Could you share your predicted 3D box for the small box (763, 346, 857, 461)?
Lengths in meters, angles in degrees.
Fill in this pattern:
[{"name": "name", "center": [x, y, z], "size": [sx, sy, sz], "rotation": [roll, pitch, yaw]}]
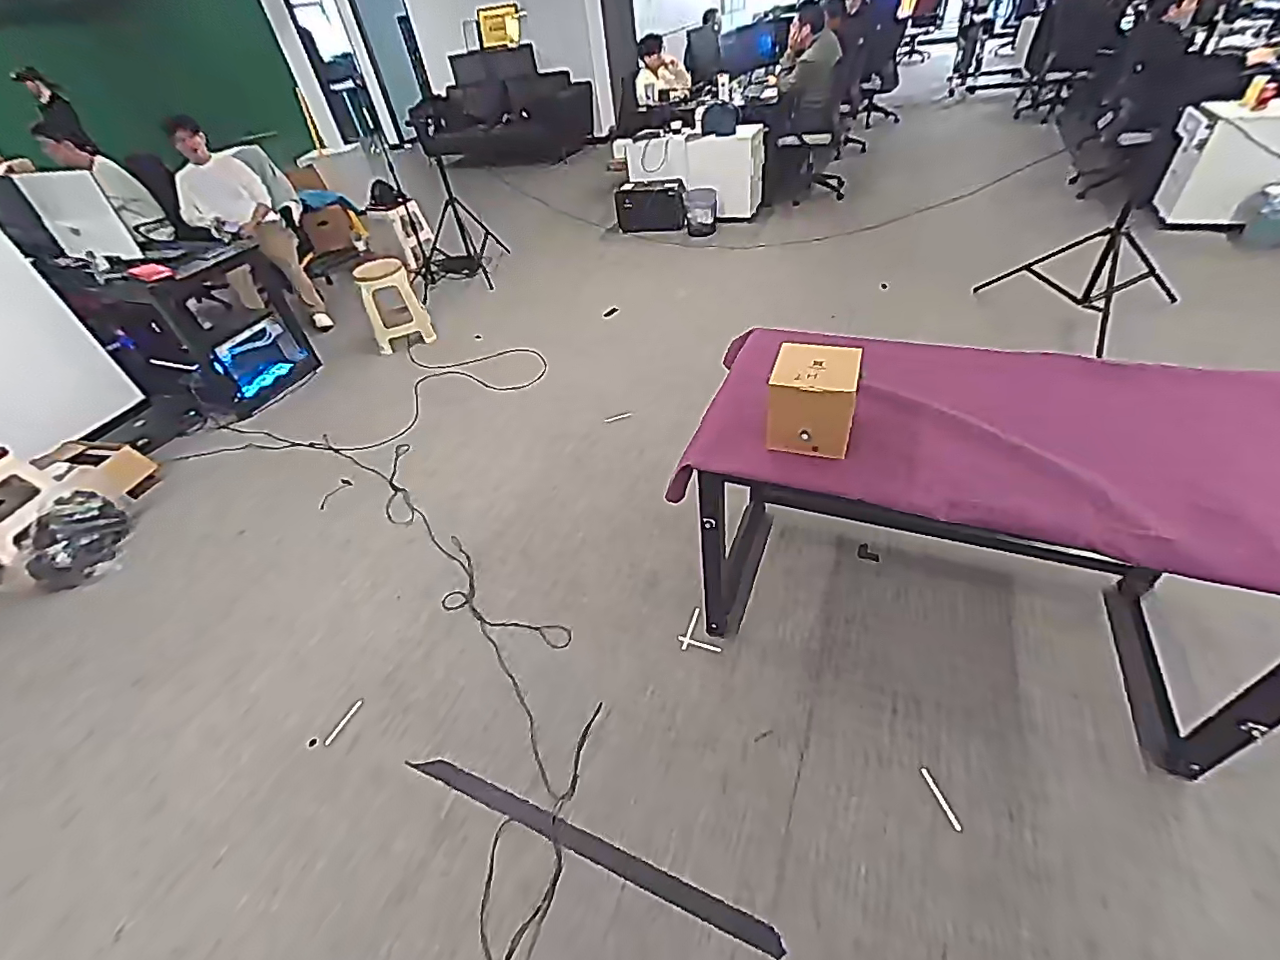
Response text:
[{"name": "small box", "center": [0.362, -0.167, 1.165], "size": [0.168, 0.176, 0.179], "rotation": [9, 44, 20]}]
